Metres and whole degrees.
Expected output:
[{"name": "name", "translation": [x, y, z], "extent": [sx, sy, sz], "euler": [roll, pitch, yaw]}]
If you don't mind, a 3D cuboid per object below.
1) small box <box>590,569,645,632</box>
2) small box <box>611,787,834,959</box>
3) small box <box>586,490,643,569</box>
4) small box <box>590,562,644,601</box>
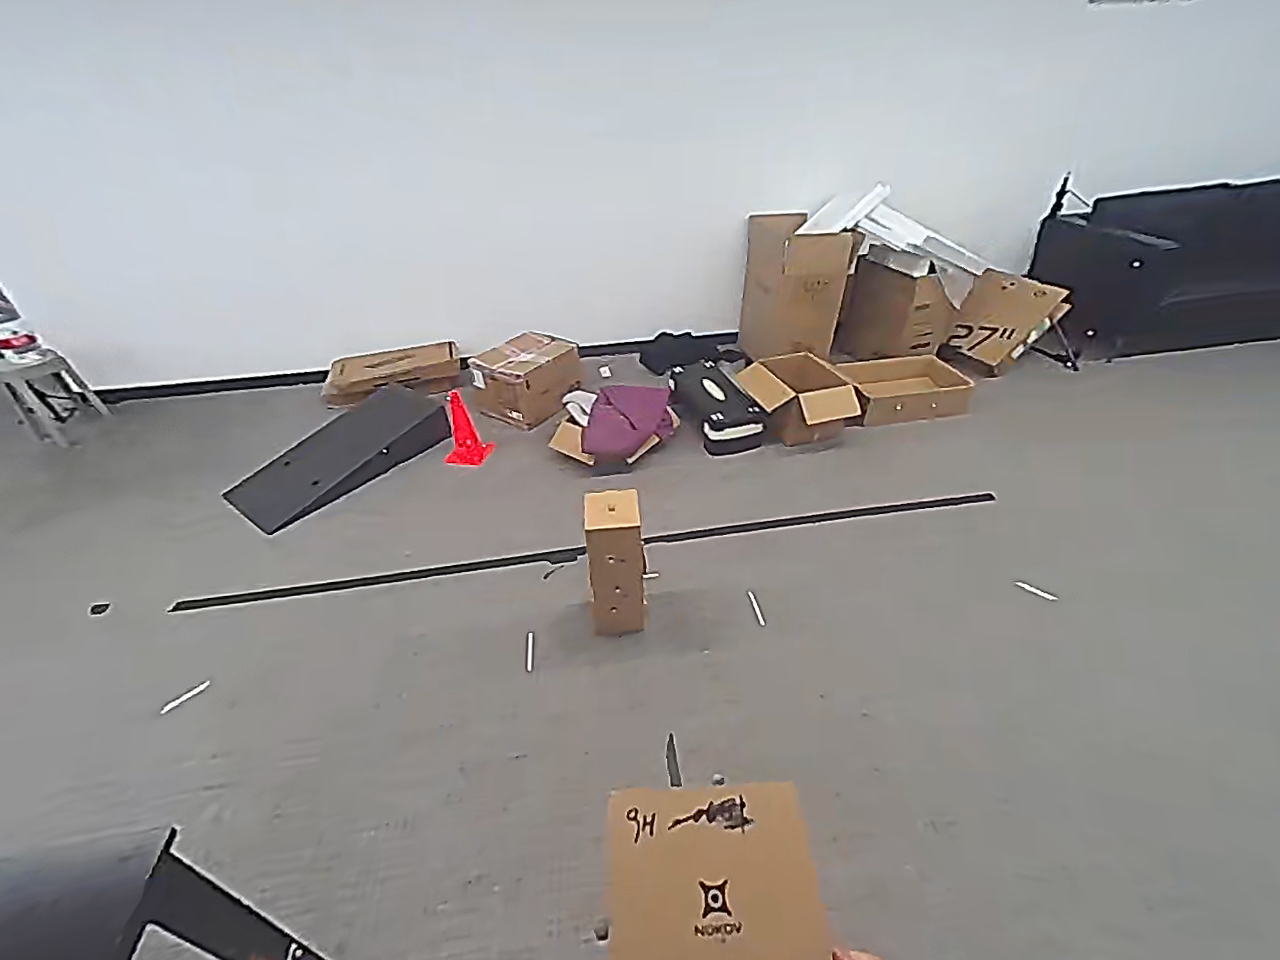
[{"name": "small box", "translation": [-0.078, 0.409, 1.877], "extent": [0.179, 0.176, 0.168], "euler": [-4, 37, -3]}, {"name": "small box", "translation": [0.061, 0.385, 0.472], "extent": [0.168, 0.176, 0.179], "euler": [-2, 49, -2]}, {"name": "small box", "translation": [-0.080, 0.152, 1.674], "extent": [0.168, 0.176, 0.179], "euler": [-5, 38, -3]}, {"name": "small box", "translation": [-0.077, 0.274, 1.783], "extent": [0.168, 0.176, 0.179], "euler": [-5, 37, -3]}]
